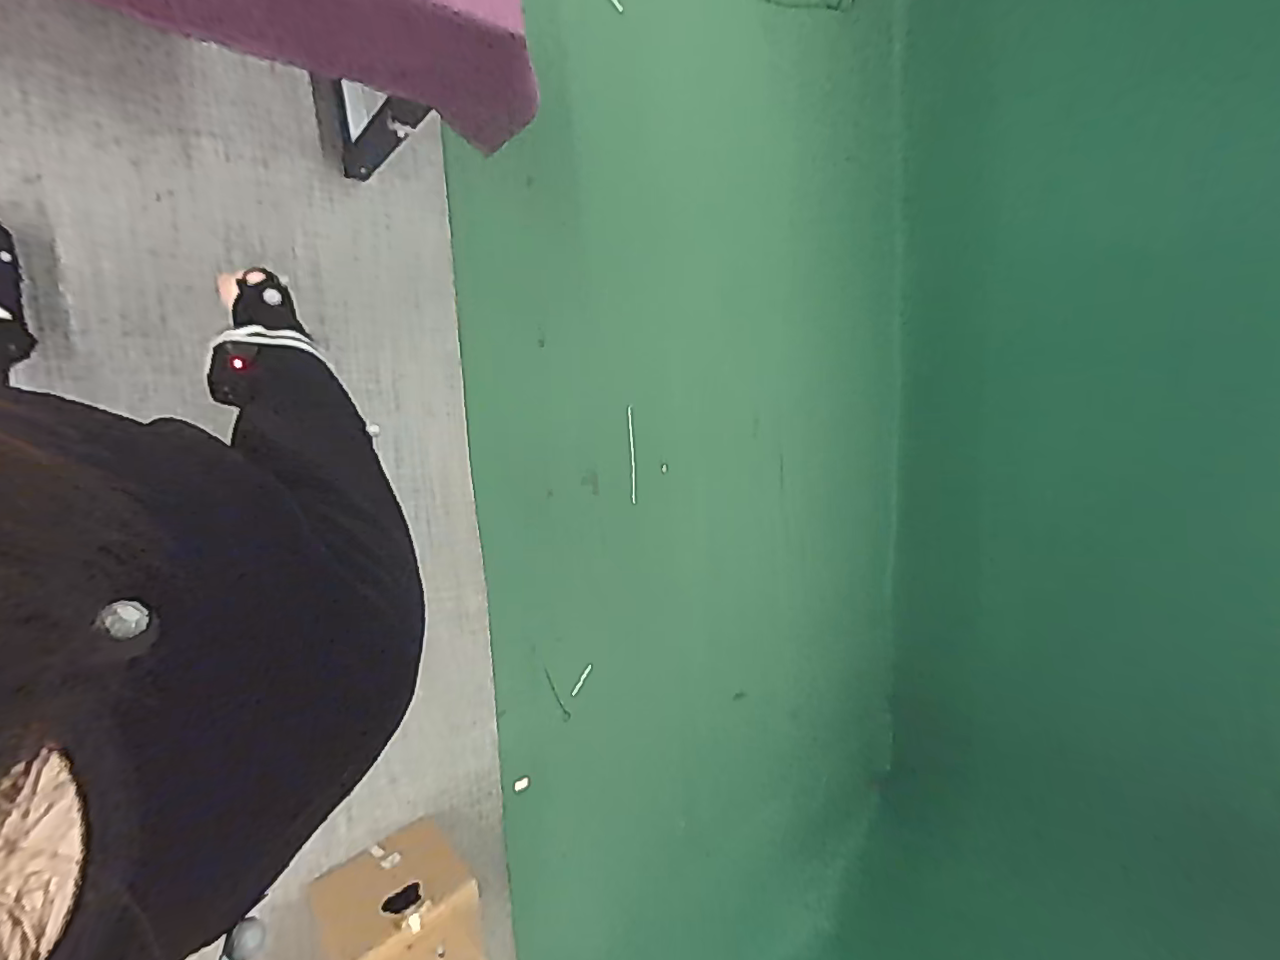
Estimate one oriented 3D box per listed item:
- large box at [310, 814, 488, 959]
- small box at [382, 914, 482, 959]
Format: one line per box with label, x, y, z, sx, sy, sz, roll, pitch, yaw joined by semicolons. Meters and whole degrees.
large box;-0.619;1.199;1.407;0.320;0.320;0.408;-12;103;-43
small box;-0.463;1.131;1.211;0.168;0.176;0.179;-10;101;-43
